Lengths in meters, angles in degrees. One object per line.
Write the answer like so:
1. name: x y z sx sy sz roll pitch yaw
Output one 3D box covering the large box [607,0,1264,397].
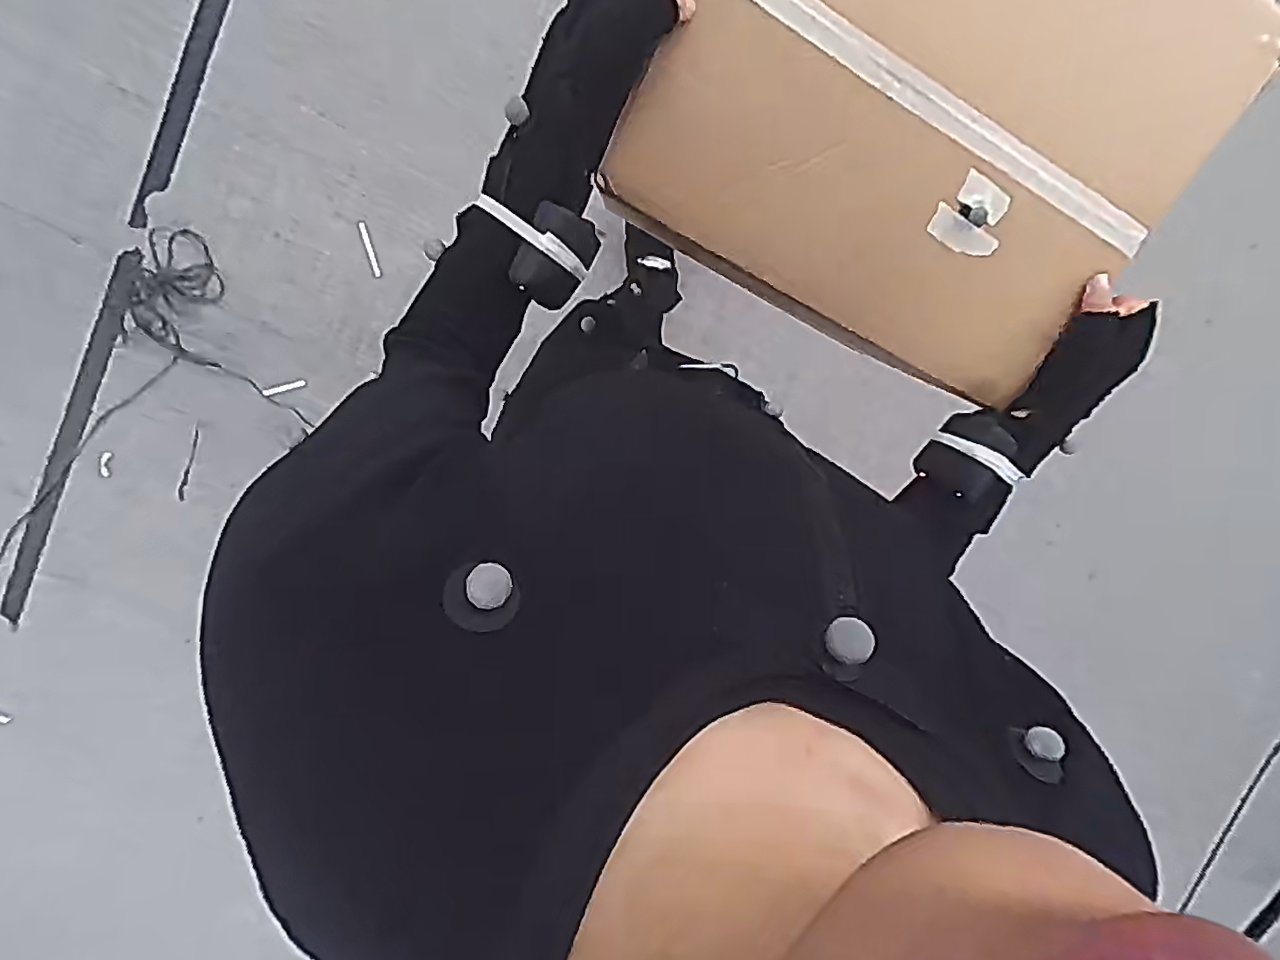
1. large box: 0.207 -0.336 0.539 0.408 0.320 0.320 24 112 -13
